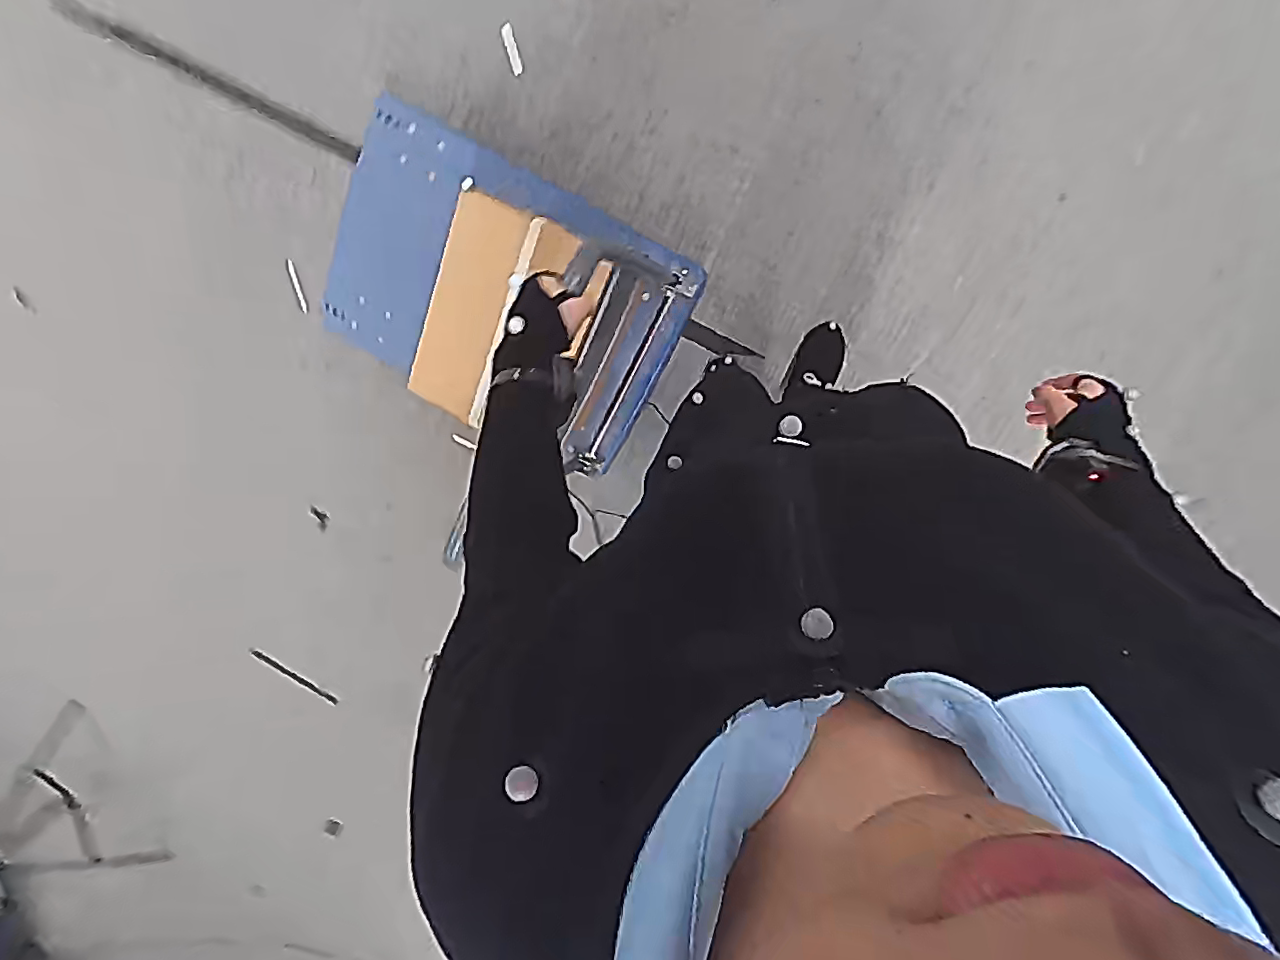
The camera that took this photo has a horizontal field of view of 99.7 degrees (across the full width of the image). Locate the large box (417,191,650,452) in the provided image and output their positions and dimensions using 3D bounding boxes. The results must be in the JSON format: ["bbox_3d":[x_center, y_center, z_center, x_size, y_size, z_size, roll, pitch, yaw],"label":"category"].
[{"bbox_3d":[-0.216,-0.326,1.169,0.320,0.320,0.408,26,109,3],"label":"large box"}]
